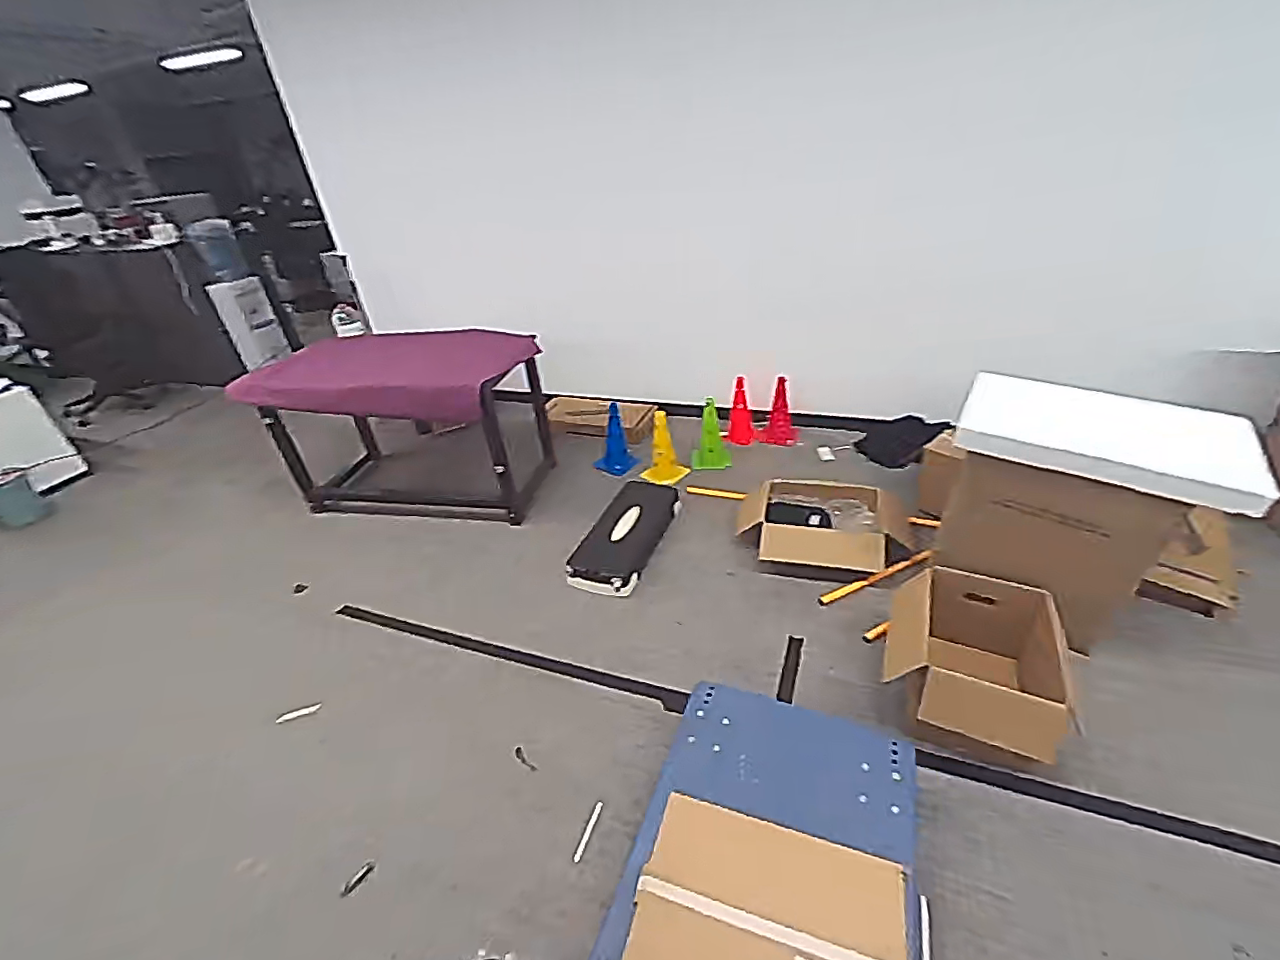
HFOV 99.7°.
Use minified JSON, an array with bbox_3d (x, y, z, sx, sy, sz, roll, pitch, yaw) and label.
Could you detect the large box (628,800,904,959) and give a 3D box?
[{"bbox_3d":[0.206,0.831,0.924,0.408,0.320,0.320,8,35,18],"label":"large box"}]
